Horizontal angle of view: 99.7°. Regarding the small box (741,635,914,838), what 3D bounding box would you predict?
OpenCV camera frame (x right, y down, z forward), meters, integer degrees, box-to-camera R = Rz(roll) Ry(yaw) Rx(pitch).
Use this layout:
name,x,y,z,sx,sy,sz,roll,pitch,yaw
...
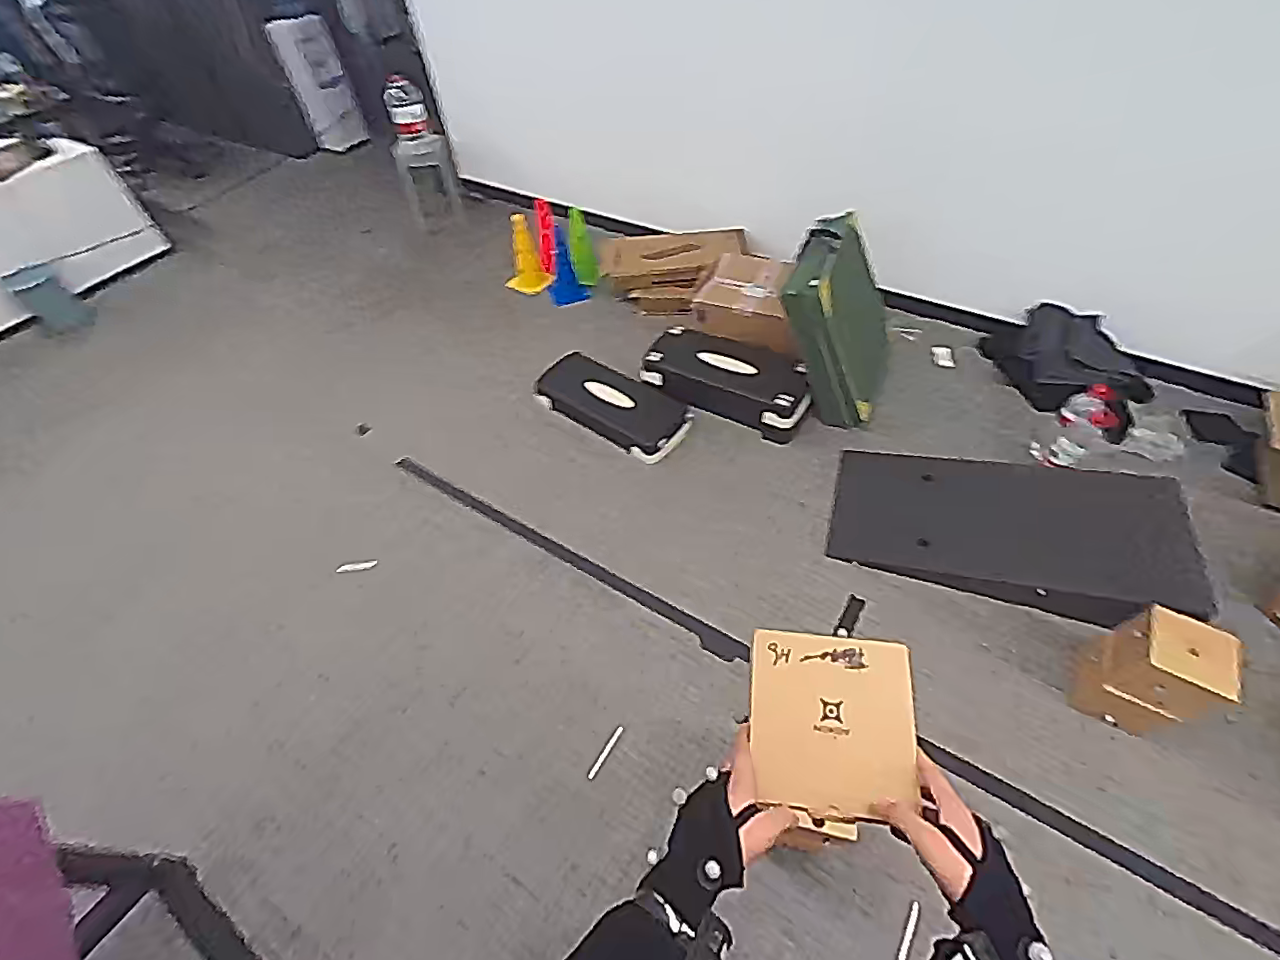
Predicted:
name,x,y,z,sx,sy,sz,roll,pitch,yaw
small box,0.207,0.296,0.637,0.168,0.176,0.179,3,63,11
